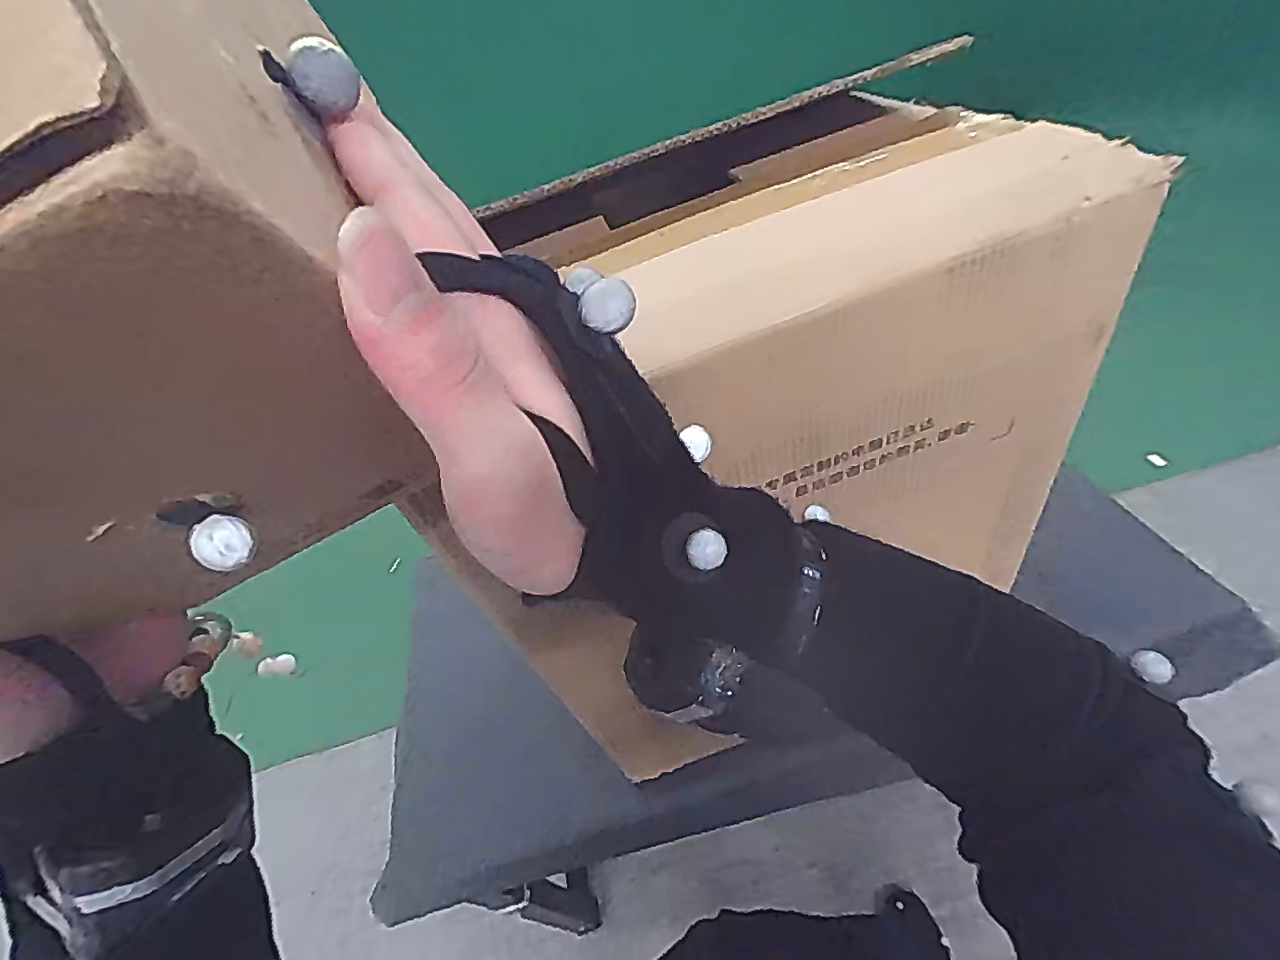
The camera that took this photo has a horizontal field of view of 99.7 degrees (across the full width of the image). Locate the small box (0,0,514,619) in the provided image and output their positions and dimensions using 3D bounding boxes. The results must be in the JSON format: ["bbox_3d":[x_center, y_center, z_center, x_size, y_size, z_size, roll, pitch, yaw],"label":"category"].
[{"bbox_3d":[-0.160,-0.067,0.152,0.168,0.176,0.179,-28,84,2],"label":"small box"}]
